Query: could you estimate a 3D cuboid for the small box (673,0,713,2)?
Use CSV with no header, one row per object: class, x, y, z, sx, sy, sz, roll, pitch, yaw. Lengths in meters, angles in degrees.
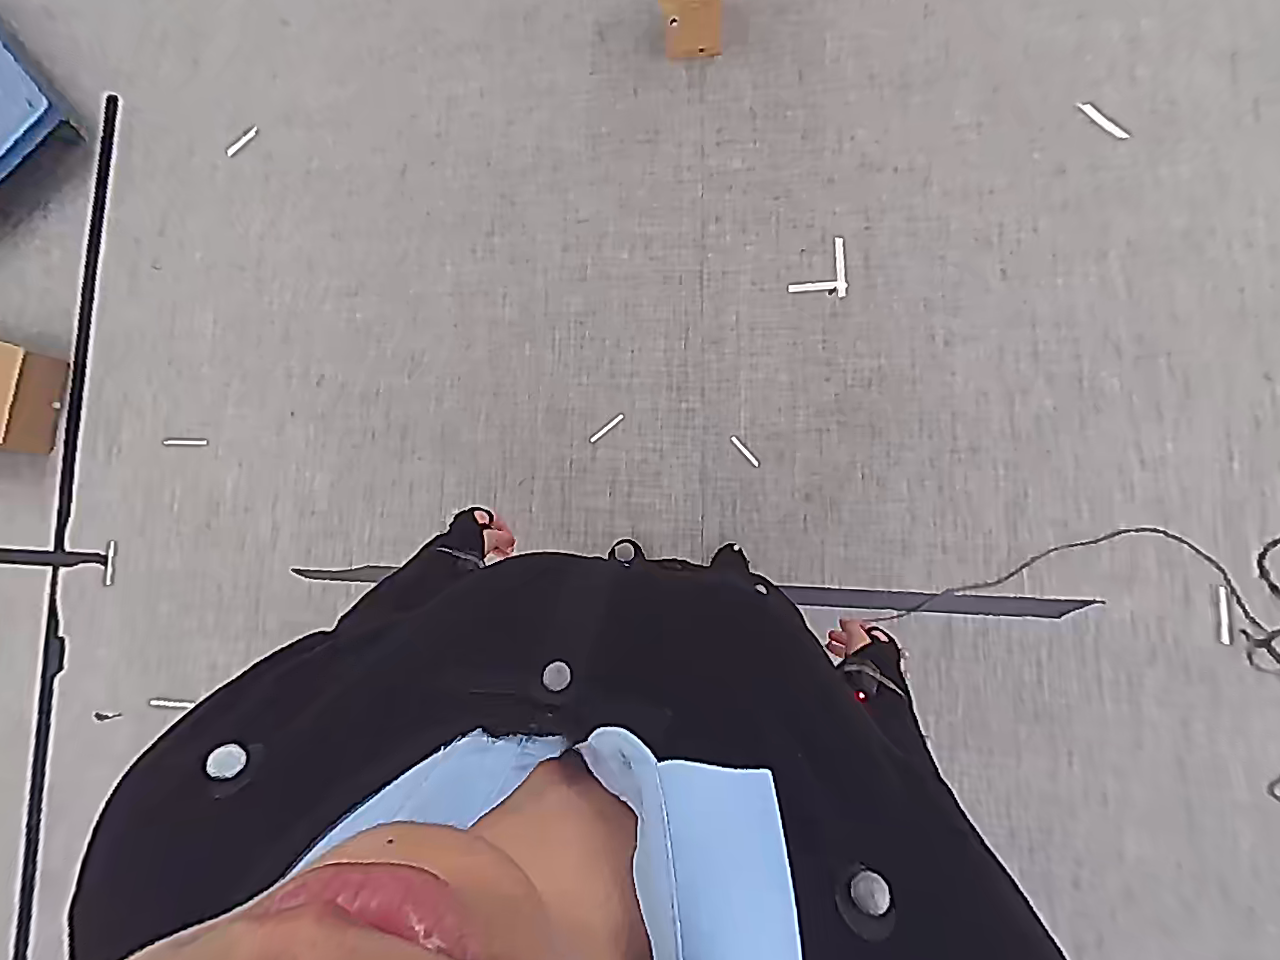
small box,0.127,-1.385,1.395,0.168,0.176,0.179,5,84,7
